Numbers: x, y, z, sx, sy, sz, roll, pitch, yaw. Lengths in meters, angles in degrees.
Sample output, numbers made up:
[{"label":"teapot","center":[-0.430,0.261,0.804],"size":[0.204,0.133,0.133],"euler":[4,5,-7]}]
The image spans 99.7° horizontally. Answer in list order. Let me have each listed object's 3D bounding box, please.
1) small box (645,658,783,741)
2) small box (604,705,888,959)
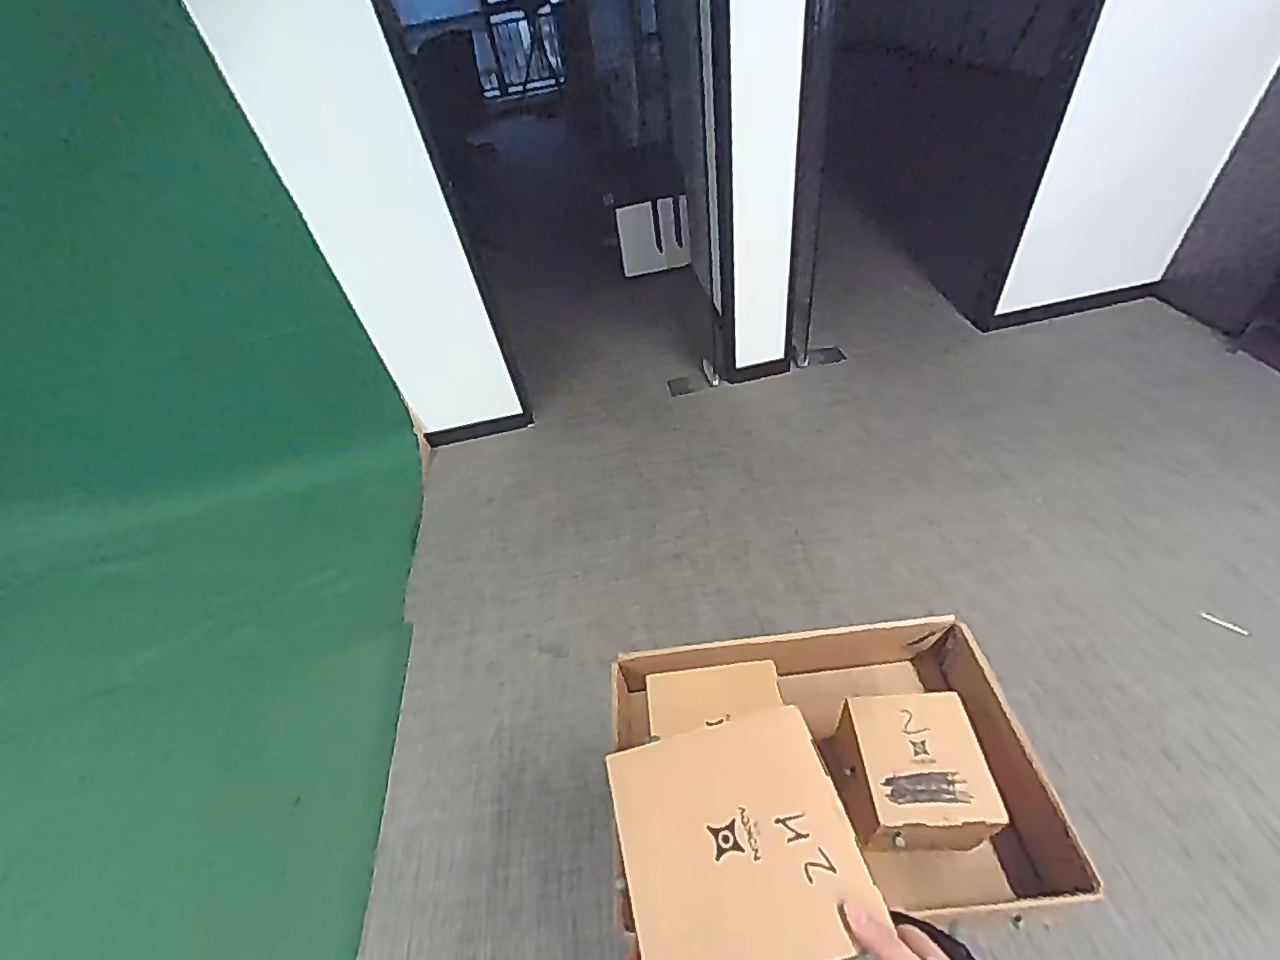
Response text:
[{"label":"small box","center":[0.106,0.366,0.735],"size":[0.179,0.176,0.168],"euler":[-7,45,1]},{"label":"small box","center":[0.075,0.326,0.470],"size":[0.179,0.176,0.168],"euler":[-12,48,-7]}]
